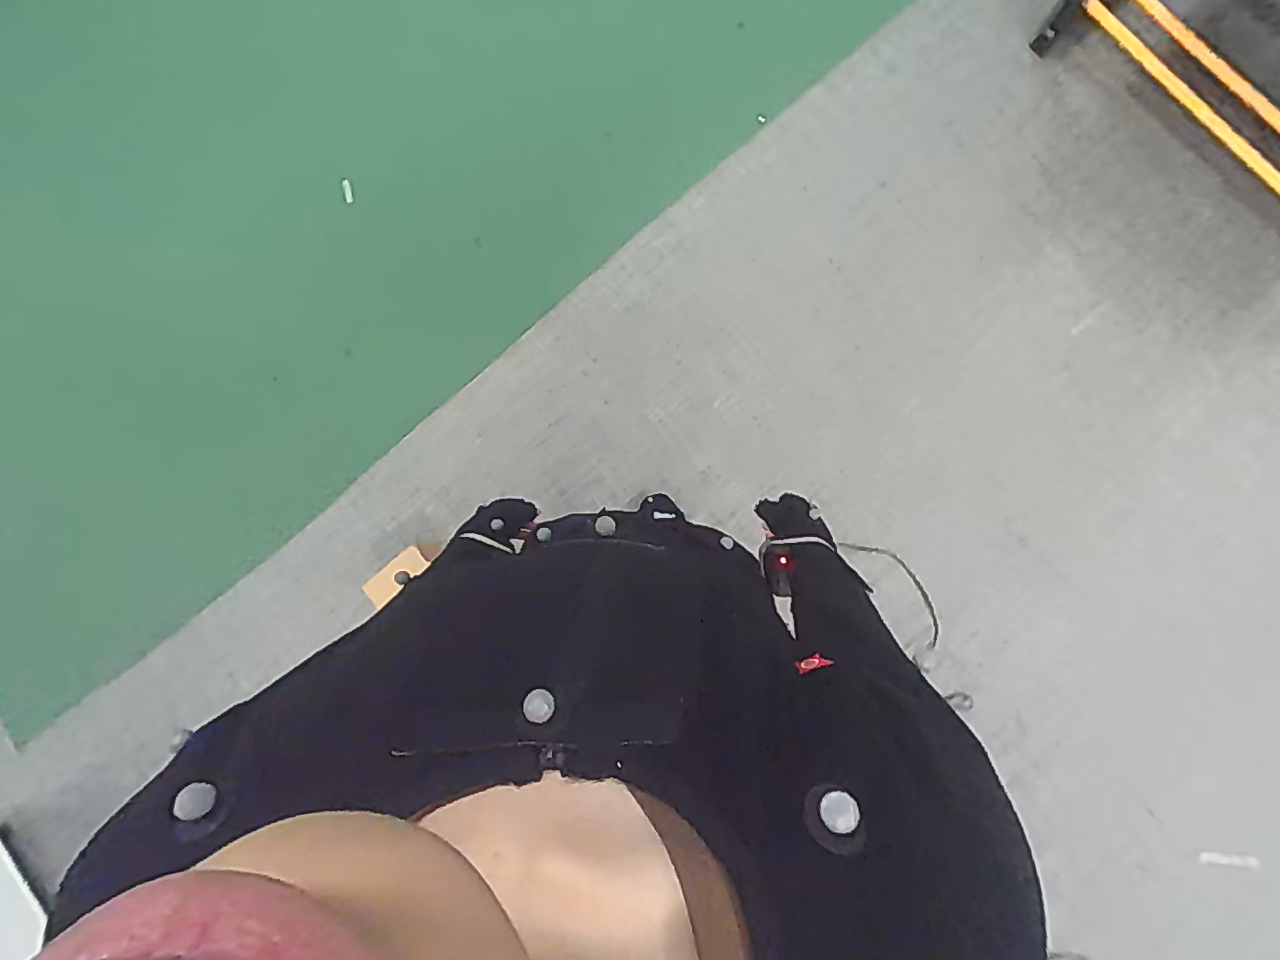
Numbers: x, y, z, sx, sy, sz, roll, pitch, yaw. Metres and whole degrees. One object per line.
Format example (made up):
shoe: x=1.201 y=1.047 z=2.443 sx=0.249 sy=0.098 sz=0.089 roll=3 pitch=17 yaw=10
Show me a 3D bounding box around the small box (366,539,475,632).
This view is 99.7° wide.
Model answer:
small box: x=-0.577 y=0.275 z=1.444 sx=0.179 sy=0.176 sz=0.168 roll=-40 pitch=85 yaw=0
